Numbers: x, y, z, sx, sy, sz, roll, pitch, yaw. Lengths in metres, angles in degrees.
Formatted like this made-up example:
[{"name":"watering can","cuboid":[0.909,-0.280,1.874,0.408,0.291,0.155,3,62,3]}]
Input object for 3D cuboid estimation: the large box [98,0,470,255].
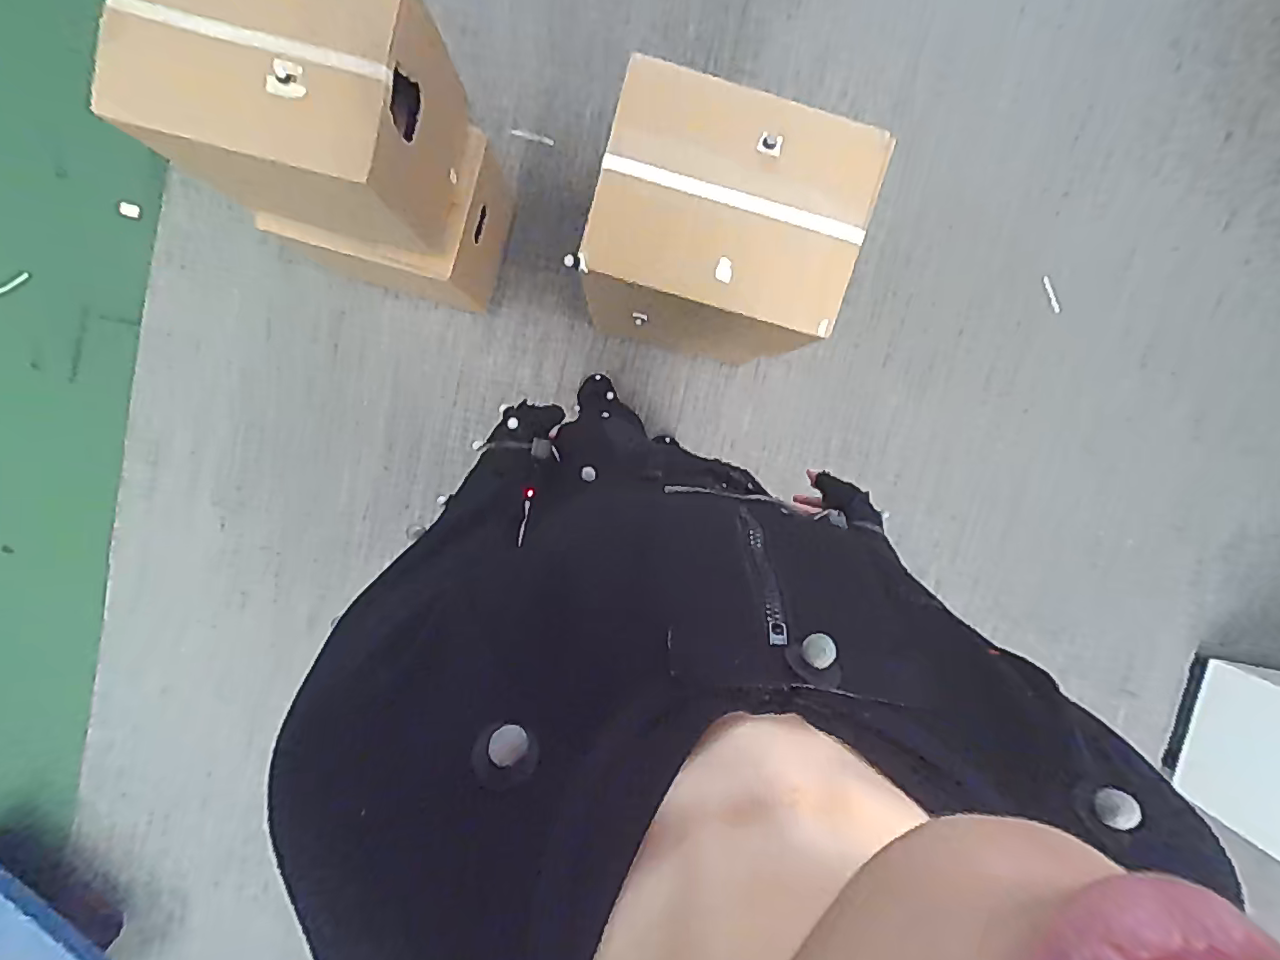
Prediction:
[{"name":"large box","cuboid":[-0.558,-0.636,0.928,0.408,0.320,0.320,14,92,-3]}]
